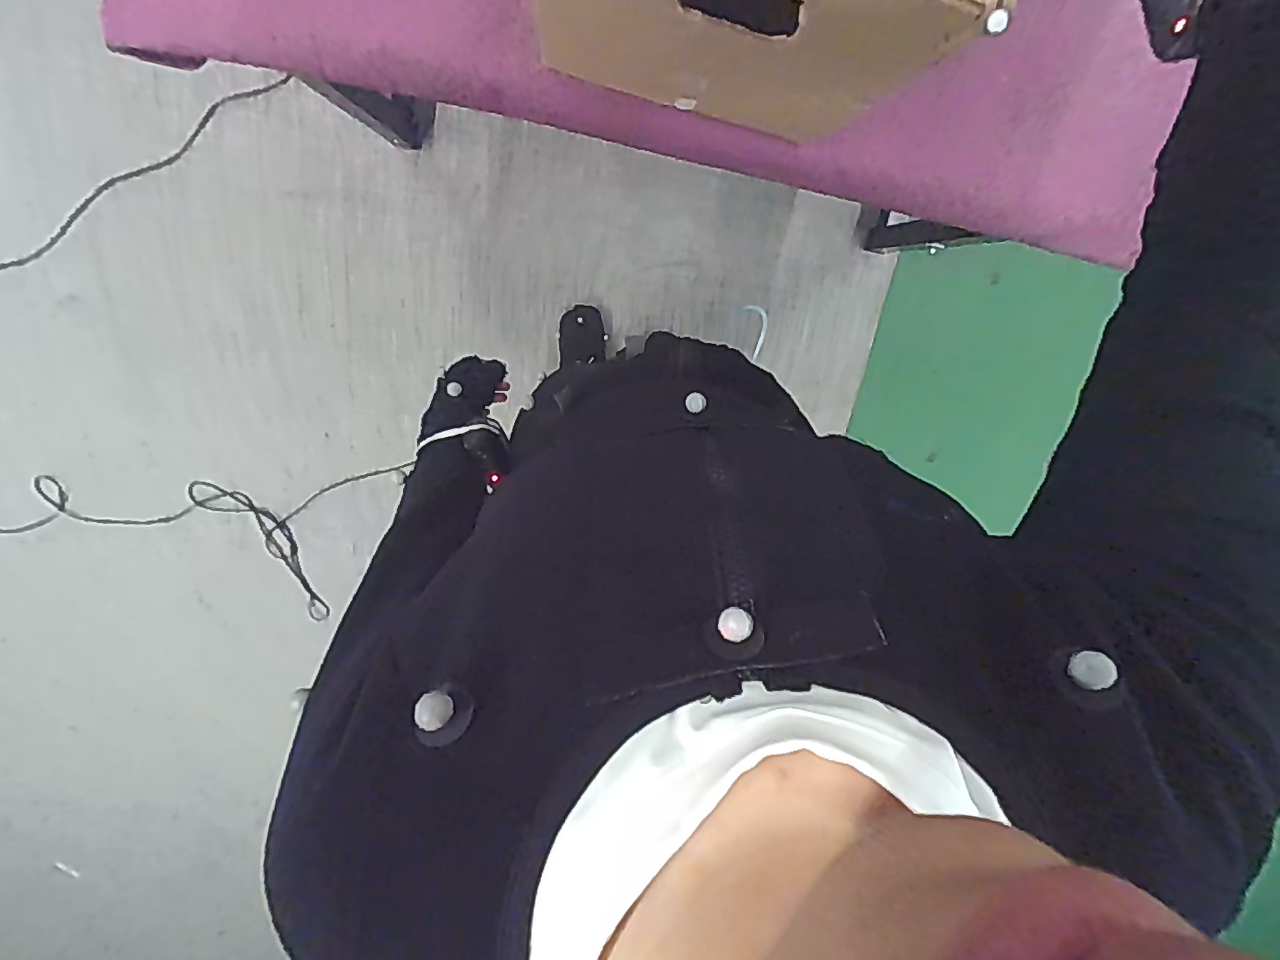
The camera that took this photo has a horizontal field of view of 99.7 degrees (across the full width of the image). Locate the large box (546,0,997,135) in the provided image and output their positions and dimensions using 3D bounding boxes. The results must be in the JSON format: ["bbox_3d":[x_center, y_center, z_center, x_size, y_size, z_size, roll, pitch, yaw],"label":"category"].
[{"bbox_3d":[0.109,-0.557,0.405,0.320,0.320,0.408,11,109,-9],"label":"large box"}]
